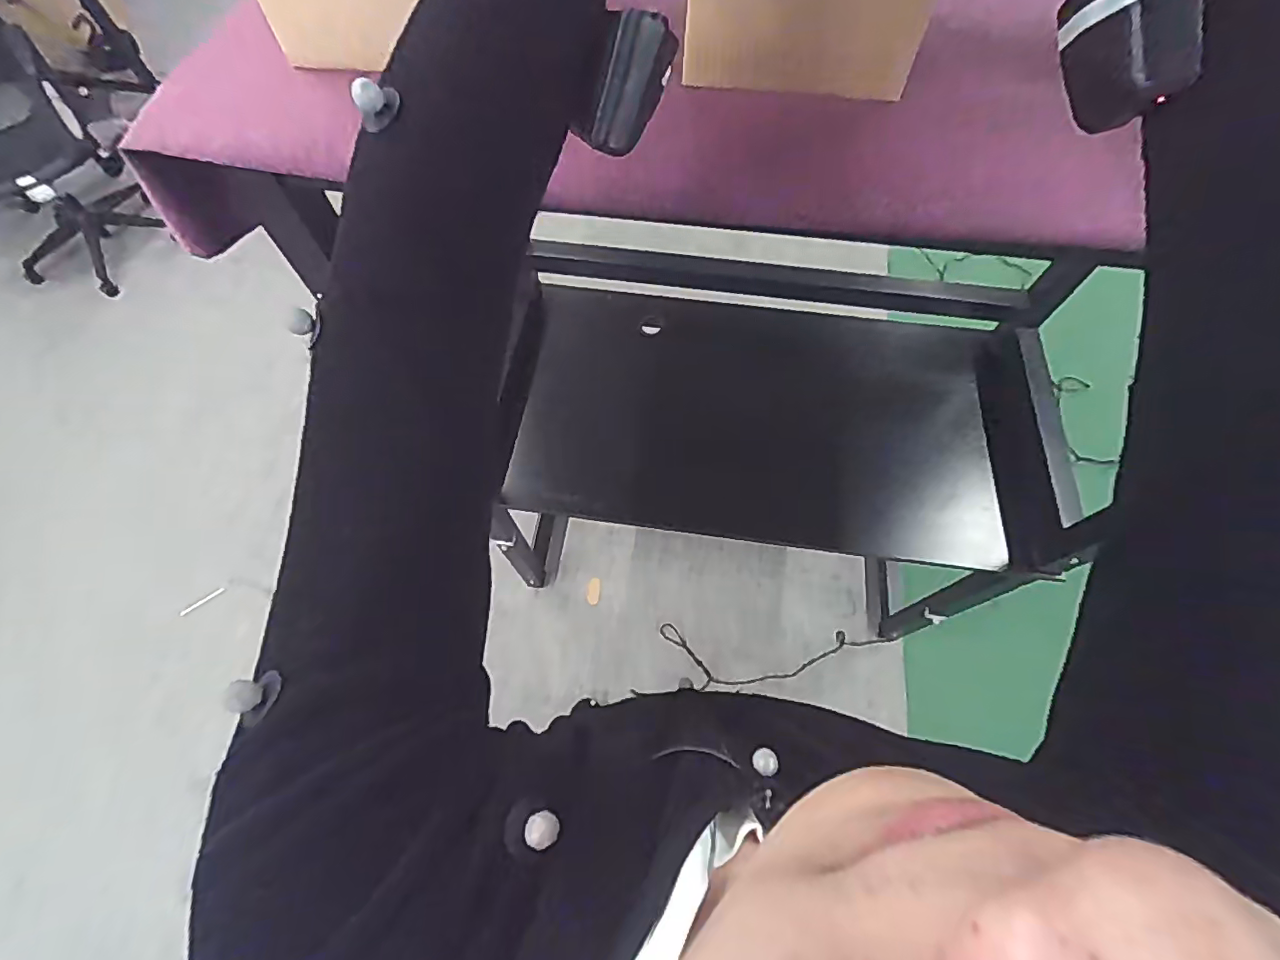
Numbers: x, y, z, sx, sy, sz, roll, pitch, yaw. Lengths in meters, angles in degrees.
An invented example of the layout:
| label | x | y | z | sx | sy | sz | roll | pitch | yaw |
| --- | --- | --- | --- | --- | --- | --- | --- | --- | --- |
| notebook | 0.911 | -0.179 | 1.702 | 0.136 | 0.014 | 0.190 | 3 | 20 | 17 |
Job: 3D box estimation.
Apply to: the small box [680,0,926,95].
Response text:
| label | x | y | z | sx | sy | sz | roll | pitch | yaw |
| --- | --- | --- | --- | --- | --- | --- | --- | --- | --- |
| small box | 0.129 | -0.419 | 0.398 | 0.179 | 0.176 | 0.168 | 7 | 63 | 5 |
